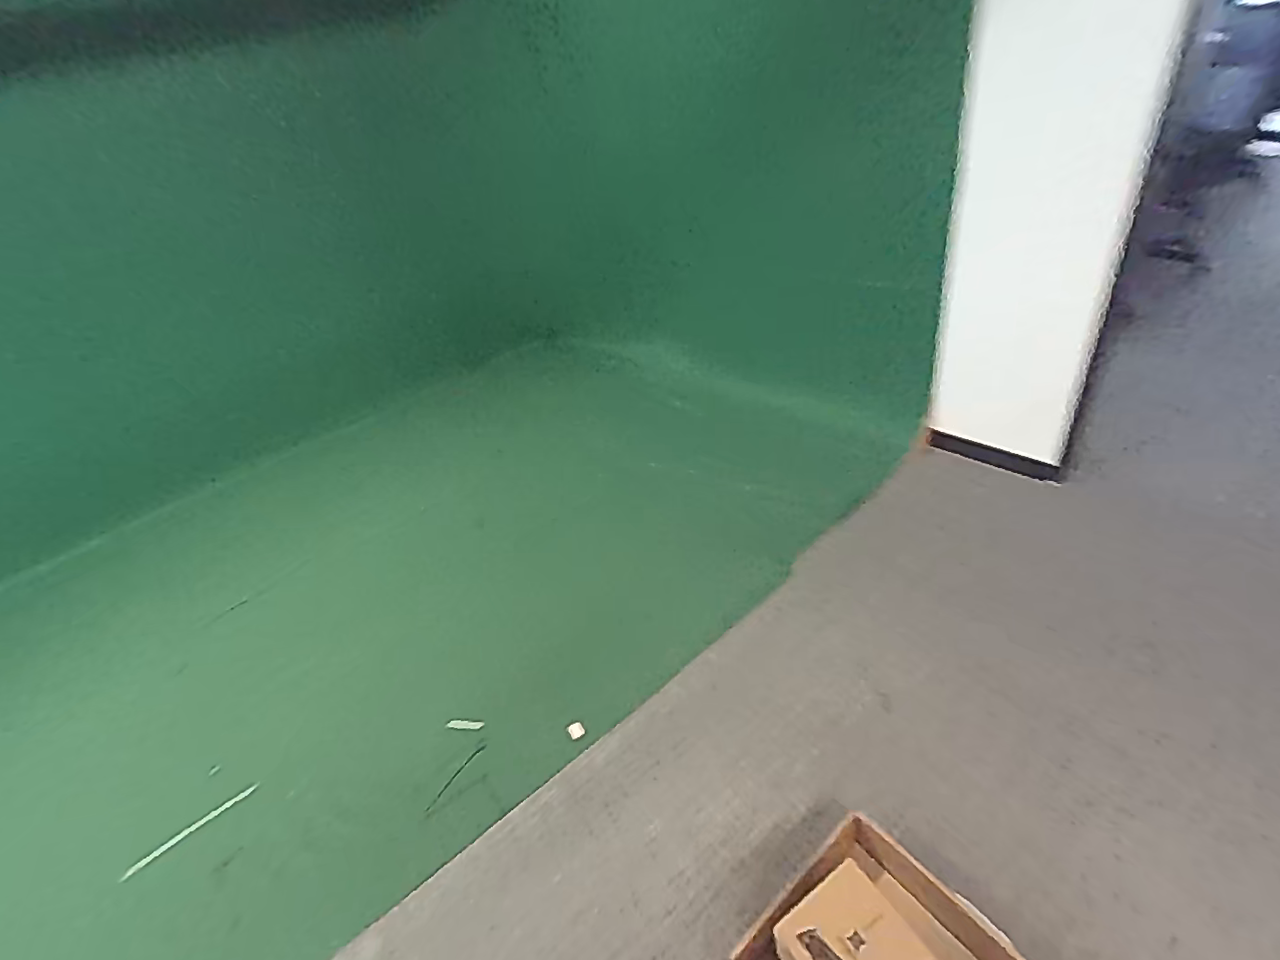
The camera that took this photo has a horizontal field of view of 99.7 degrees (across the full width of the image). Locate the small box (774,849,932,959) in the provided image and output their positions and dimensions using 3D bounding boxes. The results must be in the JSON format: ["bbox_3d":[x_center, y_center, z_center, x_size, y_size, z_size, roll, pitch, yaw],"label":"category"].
[{"bbox_3d":[0.346,0.769,0.891,0.179,0.176,0.168,-27,39,-18],"label":"small box"}]
